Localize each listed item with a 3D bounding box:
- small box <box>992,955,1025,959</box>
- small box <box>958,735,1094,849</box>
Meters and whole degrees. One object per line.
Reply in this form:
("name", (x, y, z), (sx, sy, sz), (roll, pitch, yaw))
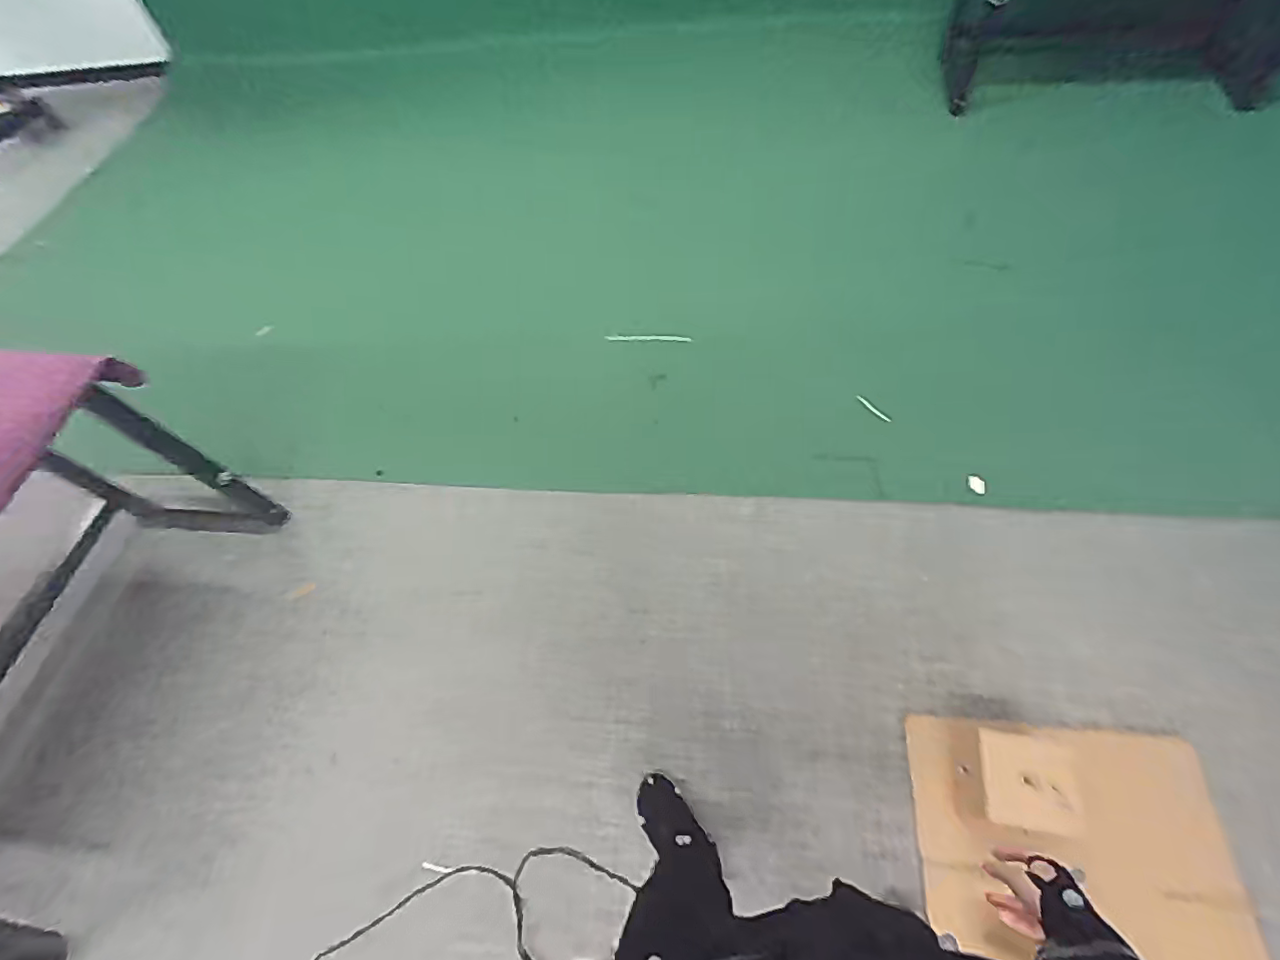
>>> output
("small box", (0.731, 0.962, 0.937), (0.179, 0.176, 0.168), (6, 61, 10))
("small box", (0.780, 0.643, 1.119), (0.179, 0.176, 0.168), (7, 62, 11))
